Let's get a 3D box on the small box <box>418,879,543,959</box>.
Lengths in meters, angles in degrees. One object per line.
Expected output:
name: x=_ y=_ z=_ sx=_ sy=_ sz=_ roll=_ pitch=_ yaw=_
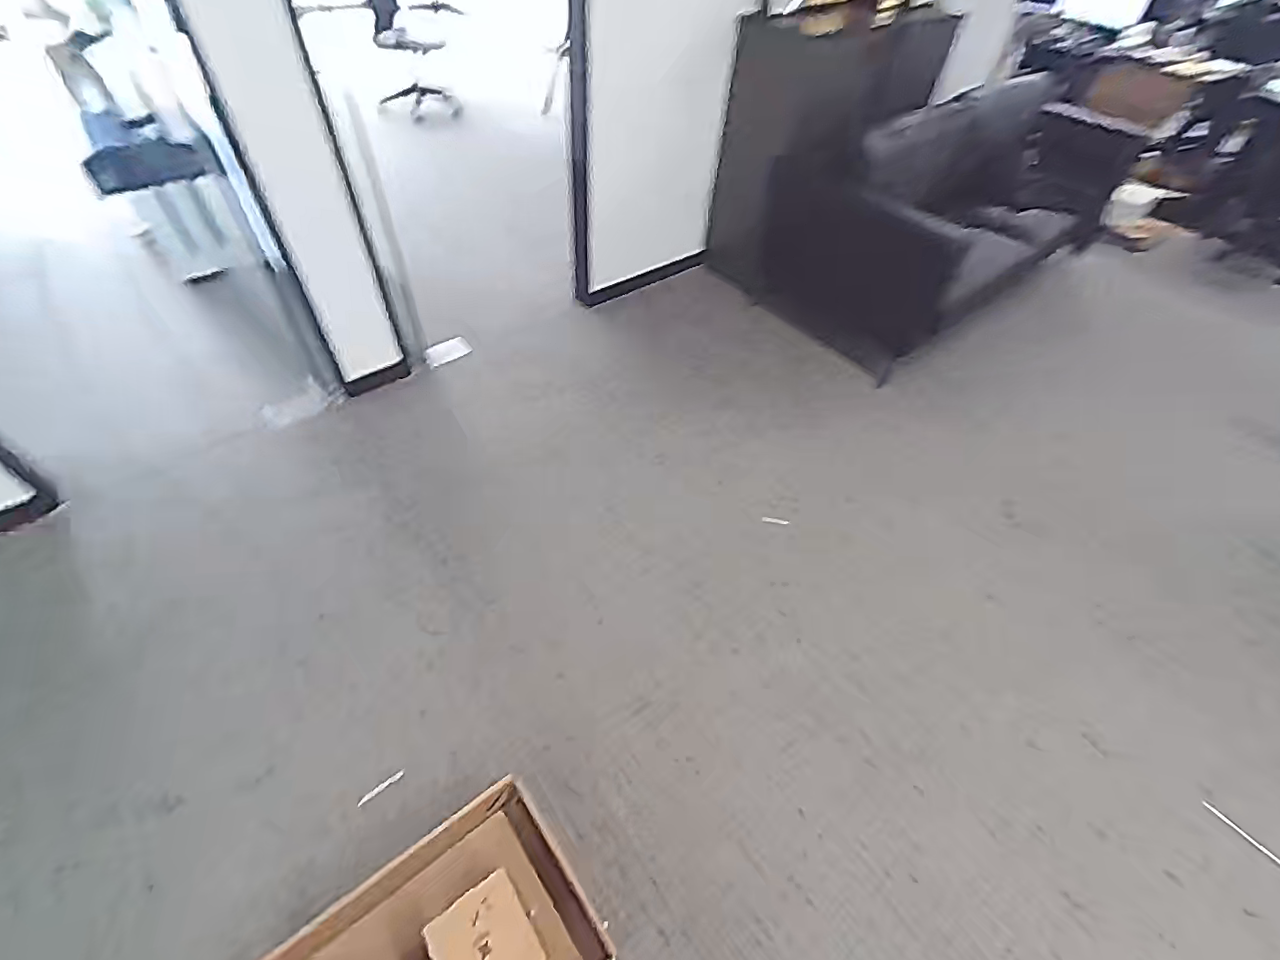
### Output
small box: x=-0.295 y=0.911 z=1.034 sx=0.168 sy=0.176 sz=0.179 roll=-27 pitch=56 yaw=-25
